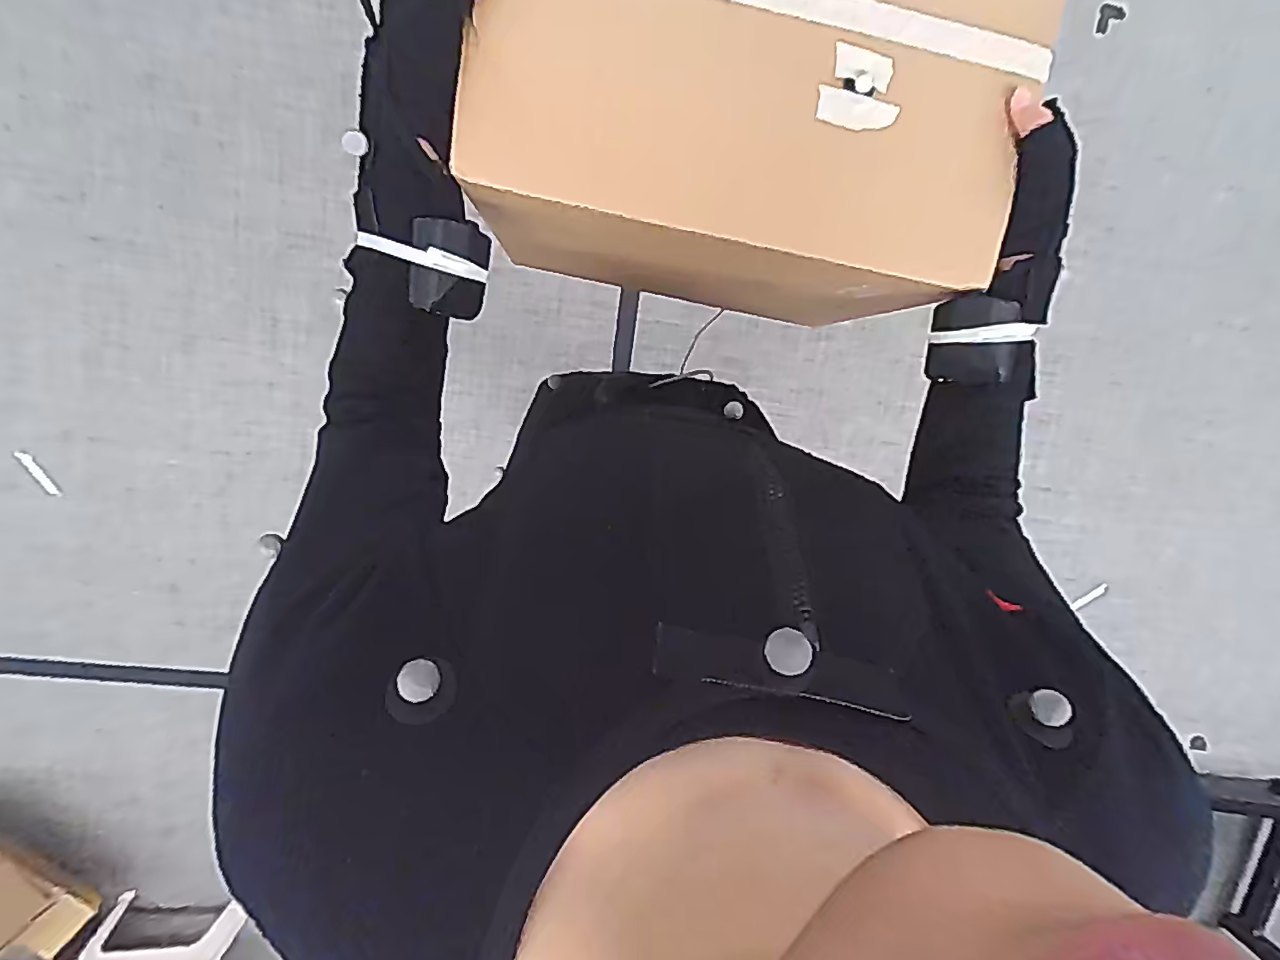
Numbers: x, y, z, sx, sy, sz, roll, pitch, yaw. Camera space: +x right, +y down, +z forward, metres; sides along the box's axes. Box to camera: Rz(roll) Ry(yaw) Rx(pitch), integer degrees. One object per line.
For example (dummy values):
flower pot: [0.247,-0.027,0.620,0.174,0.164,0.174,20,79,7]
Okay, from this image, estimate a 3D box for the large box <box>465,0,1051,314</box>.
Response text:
large box: [0.078,-0.363,0.520,0.408,0.320,0.320,9,102,-8]
